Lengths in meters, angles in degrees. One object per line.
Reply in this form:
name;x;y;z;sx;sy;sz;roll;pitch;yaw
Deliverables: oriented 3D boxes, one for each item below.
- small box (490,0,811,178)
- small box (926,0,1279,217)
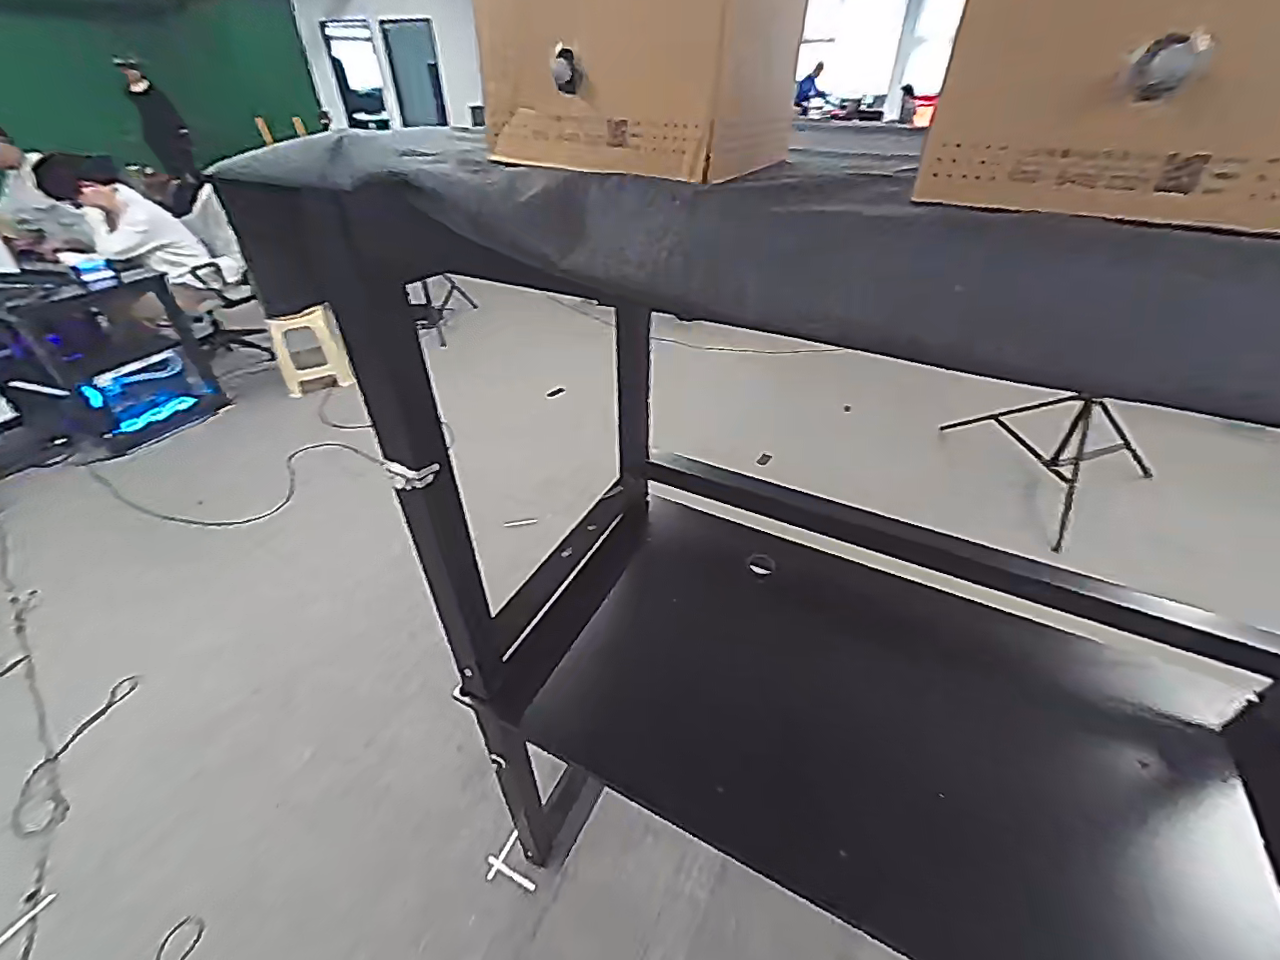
small box;0.012;-0.312;0.359;0.168;0.176;0.179;18;39;20
small box;0.255;-0.237;0.260;0.168;0.176;0.179;18;39;23
